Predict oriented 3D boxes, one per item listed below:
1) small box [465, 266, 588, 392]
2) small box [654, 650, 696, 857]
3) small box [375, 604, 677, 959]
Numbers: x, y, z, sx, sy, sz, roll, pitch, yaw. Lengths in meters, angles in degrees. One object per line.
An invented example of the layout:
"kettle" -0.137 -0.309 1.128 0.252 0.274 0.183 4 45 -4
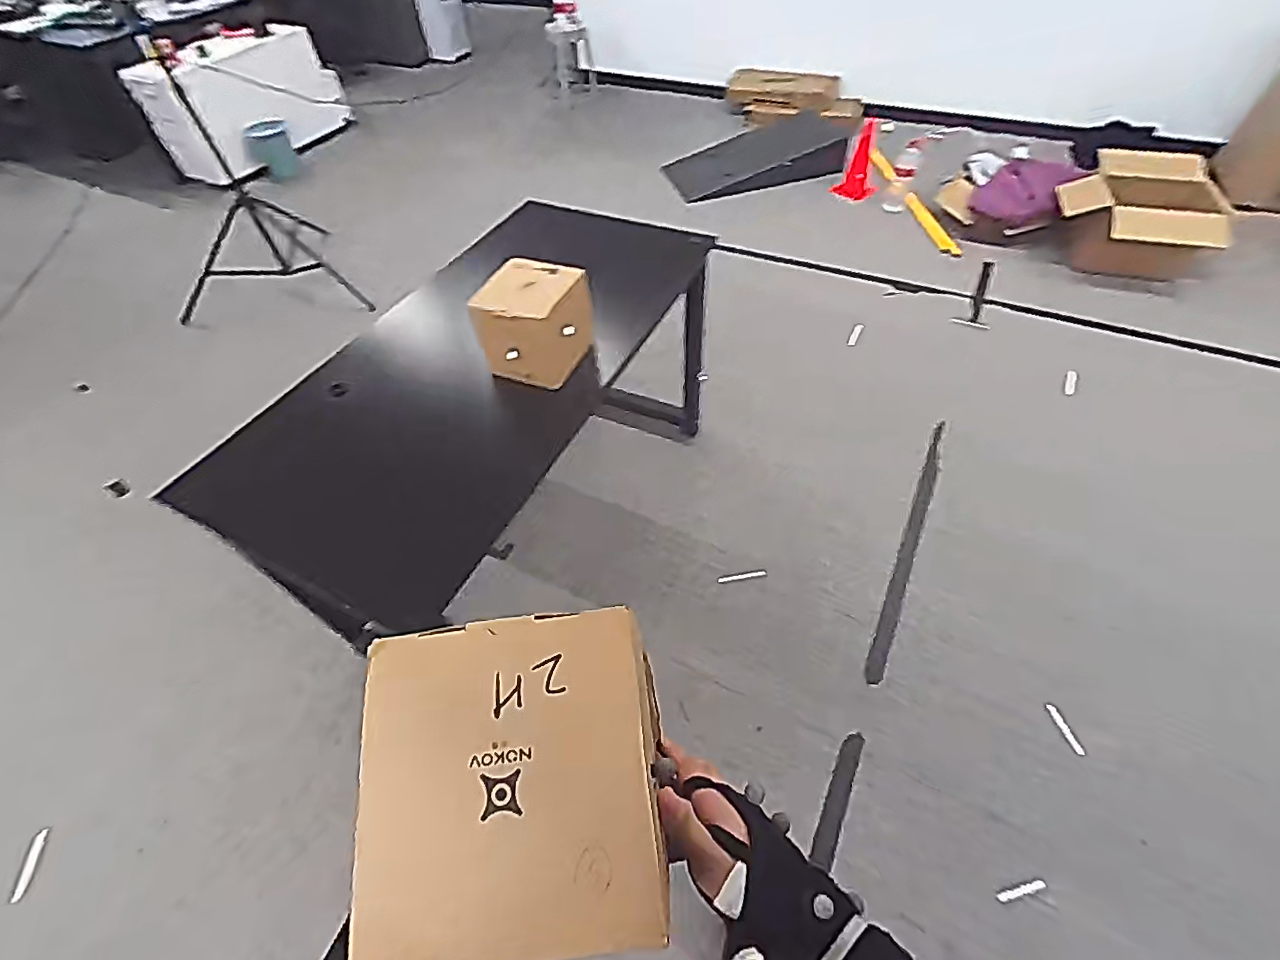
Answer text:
"small box" -0.219 -0.306 1.103 0.168 0.176 0.179 16 55 16
"small box" -0.050 0.272 0.535 0.179 0.176 0.168 -11 66 -1
"small box" -0.064 0.198 0.388 0.168 0.176 0.179 -7 66 -1
